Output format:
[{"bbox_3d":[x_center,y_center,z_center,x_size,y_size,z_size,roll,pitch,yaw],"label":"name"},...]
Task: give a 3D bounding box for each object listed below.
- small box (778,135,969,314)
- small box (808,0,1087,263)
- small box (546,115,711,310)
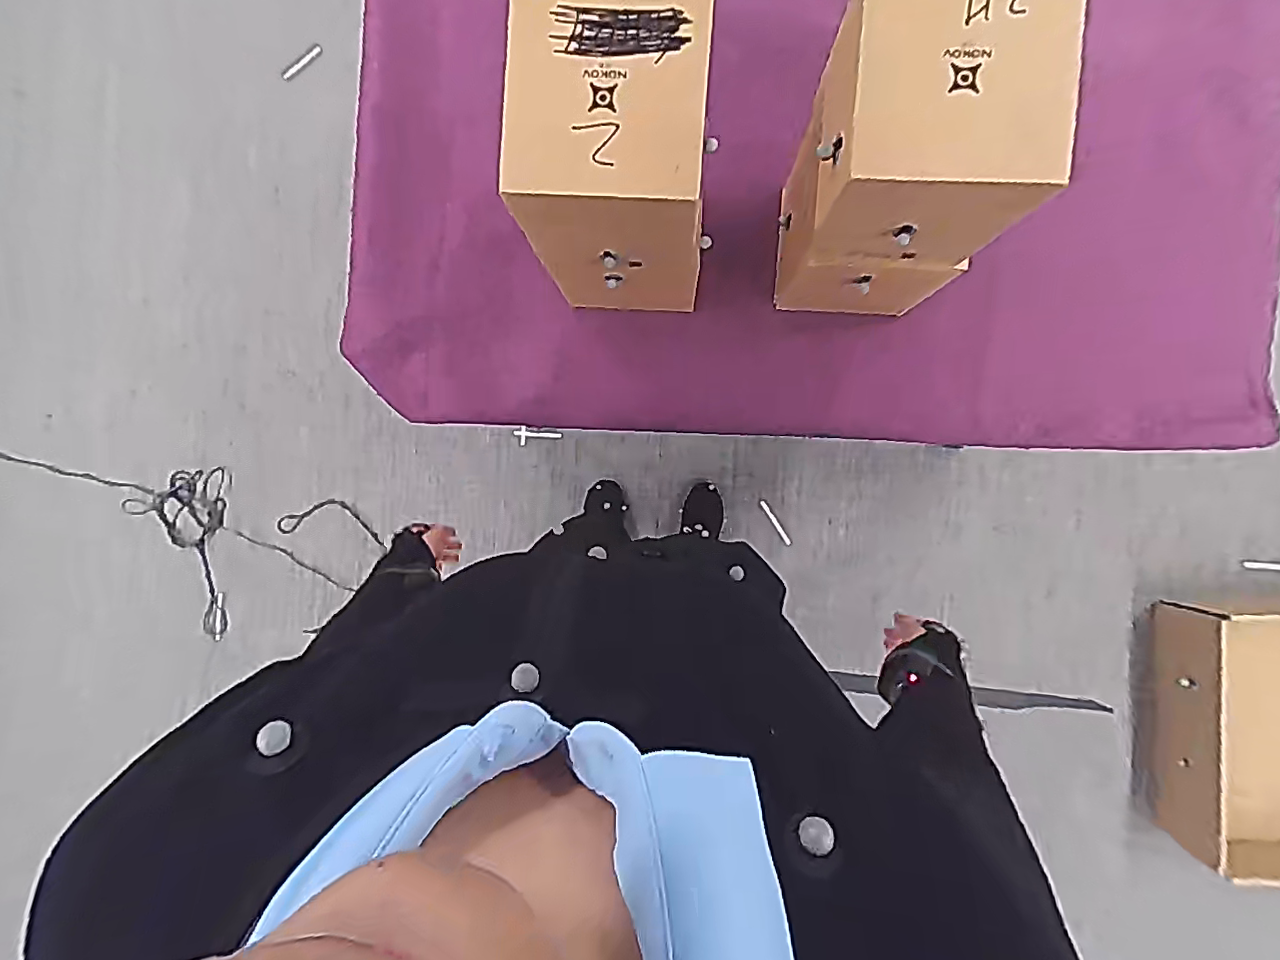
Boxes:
[{"bbox_3d":[0.277,-0.310,0.662,0.179,0.176,0.168,4,91,5],"label":"small box"},{"bbox_3d":[0.259,-0.316,0.498,0.168,0.176,0.179,4,91,4],"label":"small box"},{"bbox_3d":[-0.009,-0.321,0.679,0.179,0.176,0.168,4,91,3],"label":"small box"}]
